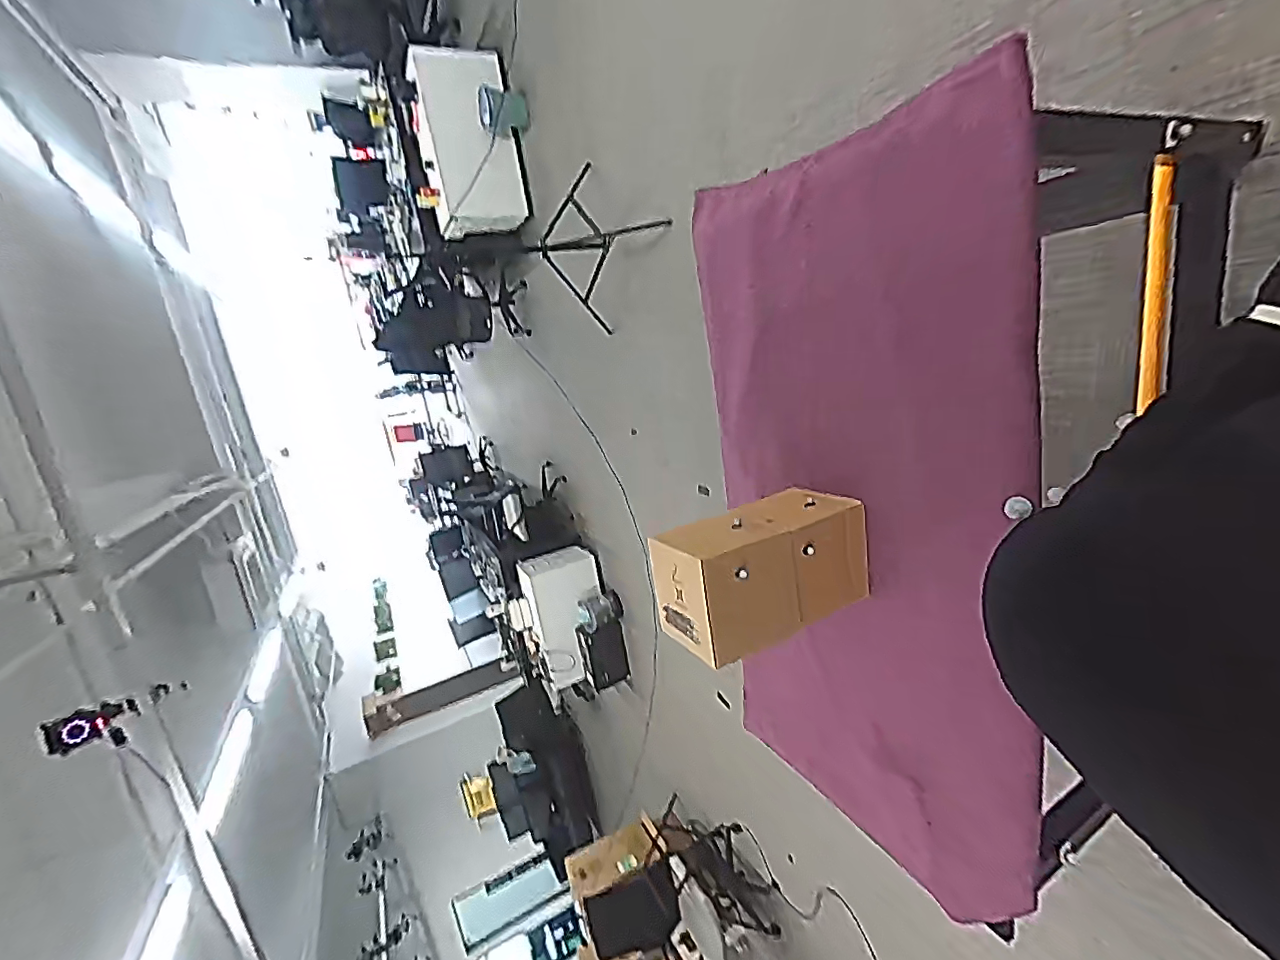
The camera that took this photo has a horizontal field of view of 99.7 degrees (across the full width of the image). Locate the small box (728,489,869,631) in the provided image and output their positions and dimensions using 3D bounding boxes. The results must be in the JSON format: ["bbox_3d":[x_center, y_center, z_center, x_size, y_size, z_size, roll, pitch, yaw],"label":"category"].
[{"bbox_3d":[0.277,0.130,0.945,0.168,0.176,0.179,16,118,62],"label":"small box"}]
